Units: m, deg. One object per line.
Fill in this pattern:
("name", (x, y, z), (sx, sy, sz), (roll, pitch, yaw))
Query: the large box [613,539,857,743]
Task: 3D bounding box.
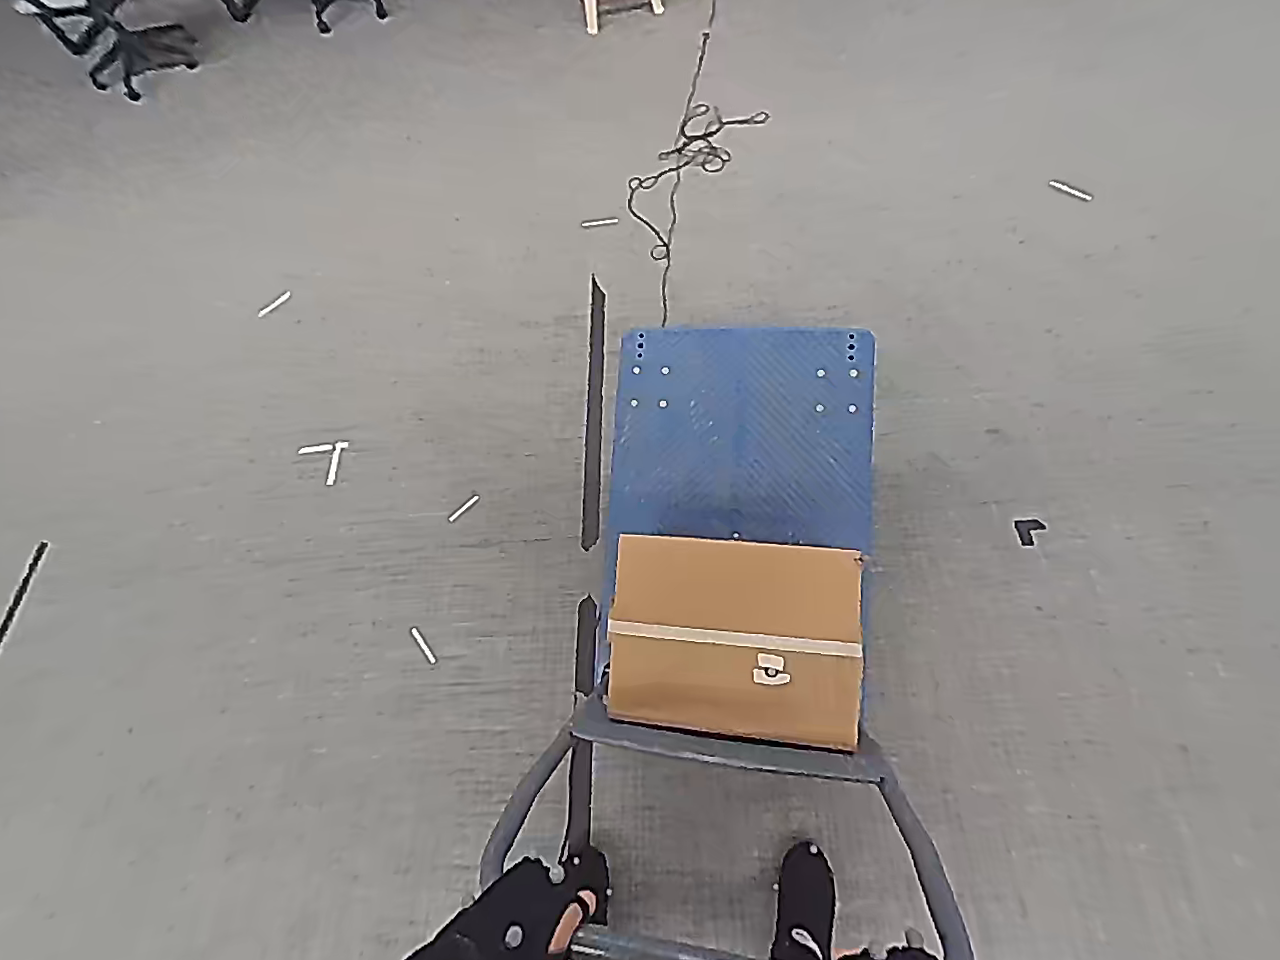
("large box", (0.178, 0.282, 1.055), (0.408, 0.320, 0.320), (2, 84, 10))
